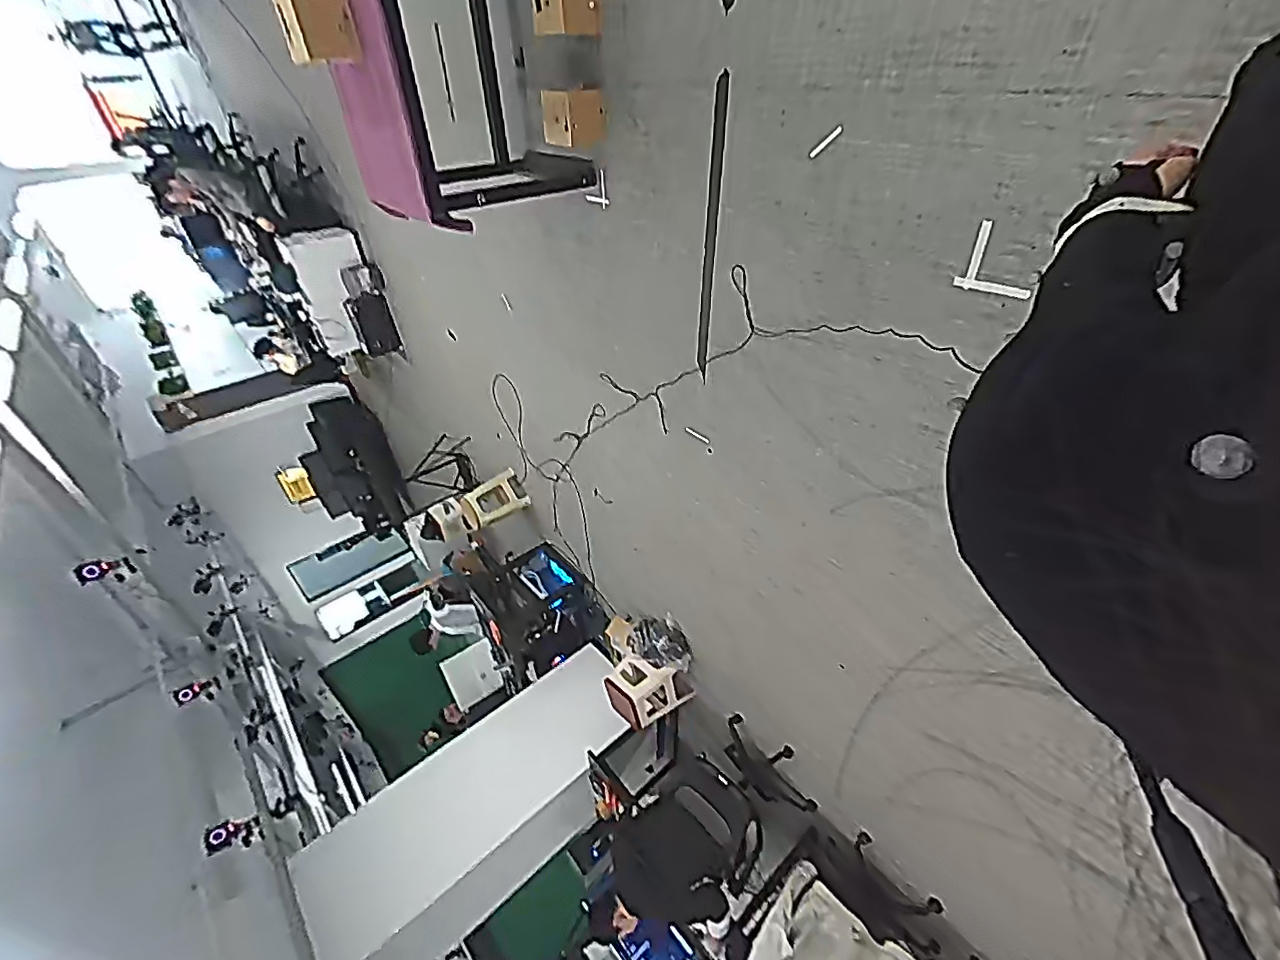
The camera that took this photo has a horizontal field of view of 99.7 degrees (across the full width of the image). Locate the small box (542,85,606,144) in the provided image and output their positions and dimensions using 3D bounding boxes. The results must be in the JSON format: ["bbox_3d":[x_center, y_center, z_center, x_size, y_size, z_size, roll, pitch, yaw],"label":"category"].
[{"bbox_3d":[-0.243,-1.367,2.018,0.179,0.176,0.168,37,142,36],"label":"small box"}]

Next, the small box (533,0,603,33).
[{"bbox_3d":[-0.243,-1.609,1.813,0.179,0.176,0.168,34,141,36],"label":"small box"}]
